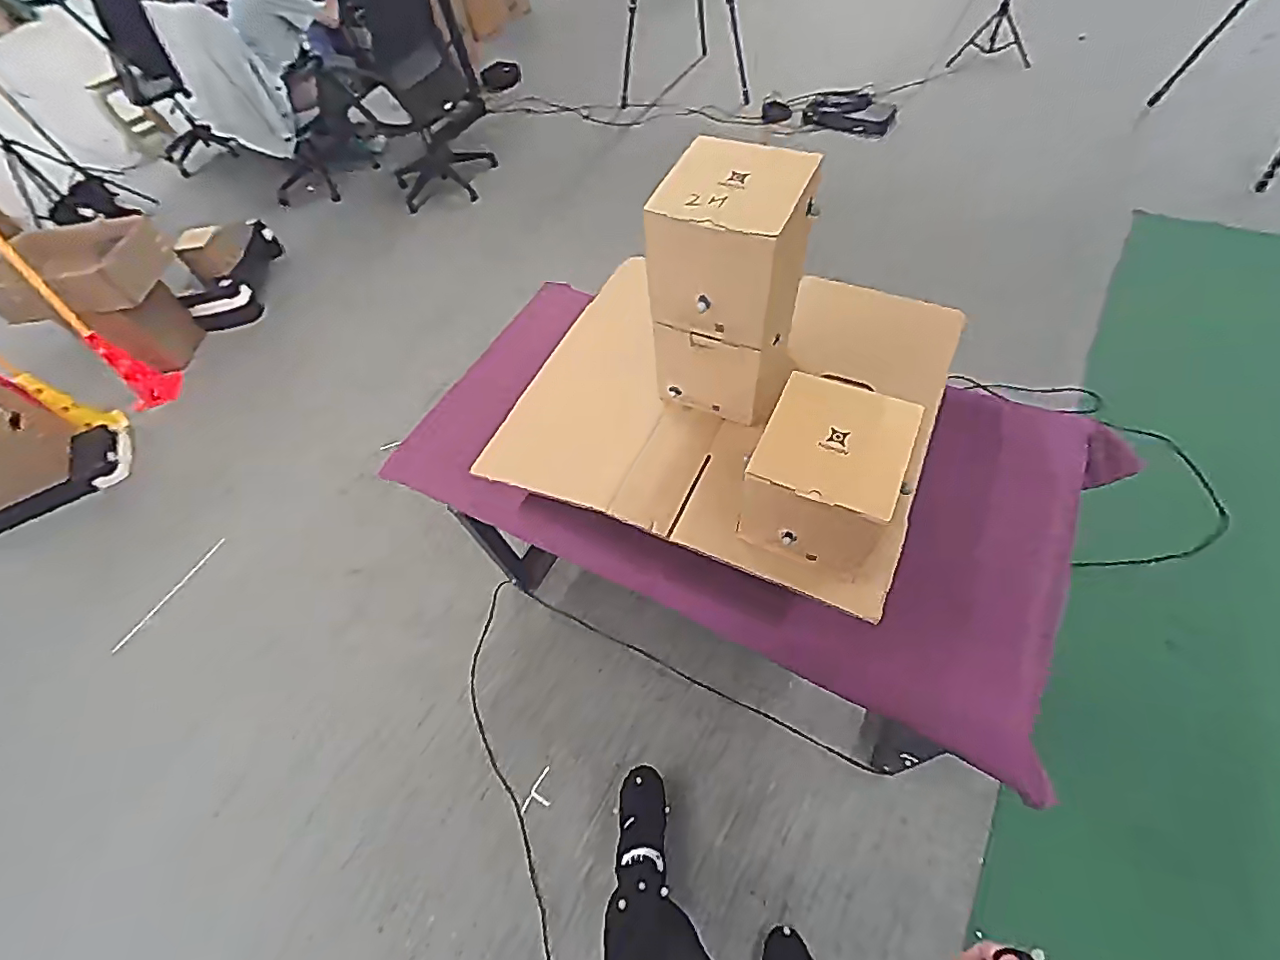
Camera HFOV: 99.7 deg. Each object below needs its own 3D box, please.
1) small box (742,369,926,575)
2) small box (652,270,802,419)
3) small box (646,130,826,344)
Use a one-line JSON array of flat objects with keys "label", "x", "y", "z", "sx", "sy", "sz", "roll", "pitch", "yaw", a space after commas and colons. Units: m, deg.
[{"label": "small box", "x": 0.239, "y": -0.007, "z": 0.699, "sx": 0.168, "sy": 0.176, "sz": 0.179, "roll": 21, "pitch": 64, "yaw": 18}, {"label": "small box", "x": 0.134, "y": -0.224, "z": 0.841, "sx": 0.168, "sy": 0.176, "sz": 0.179, "roll": 21, "pitch": 62, "yaw": 17}, {"label": "small box", "x": 0.120, "y": -0.312, "z": 0.702, "sx": 0.168, "sy": 0.176, "sz": 0.179, "roll": 21, "pitch": 64, "yaw": 17}]
